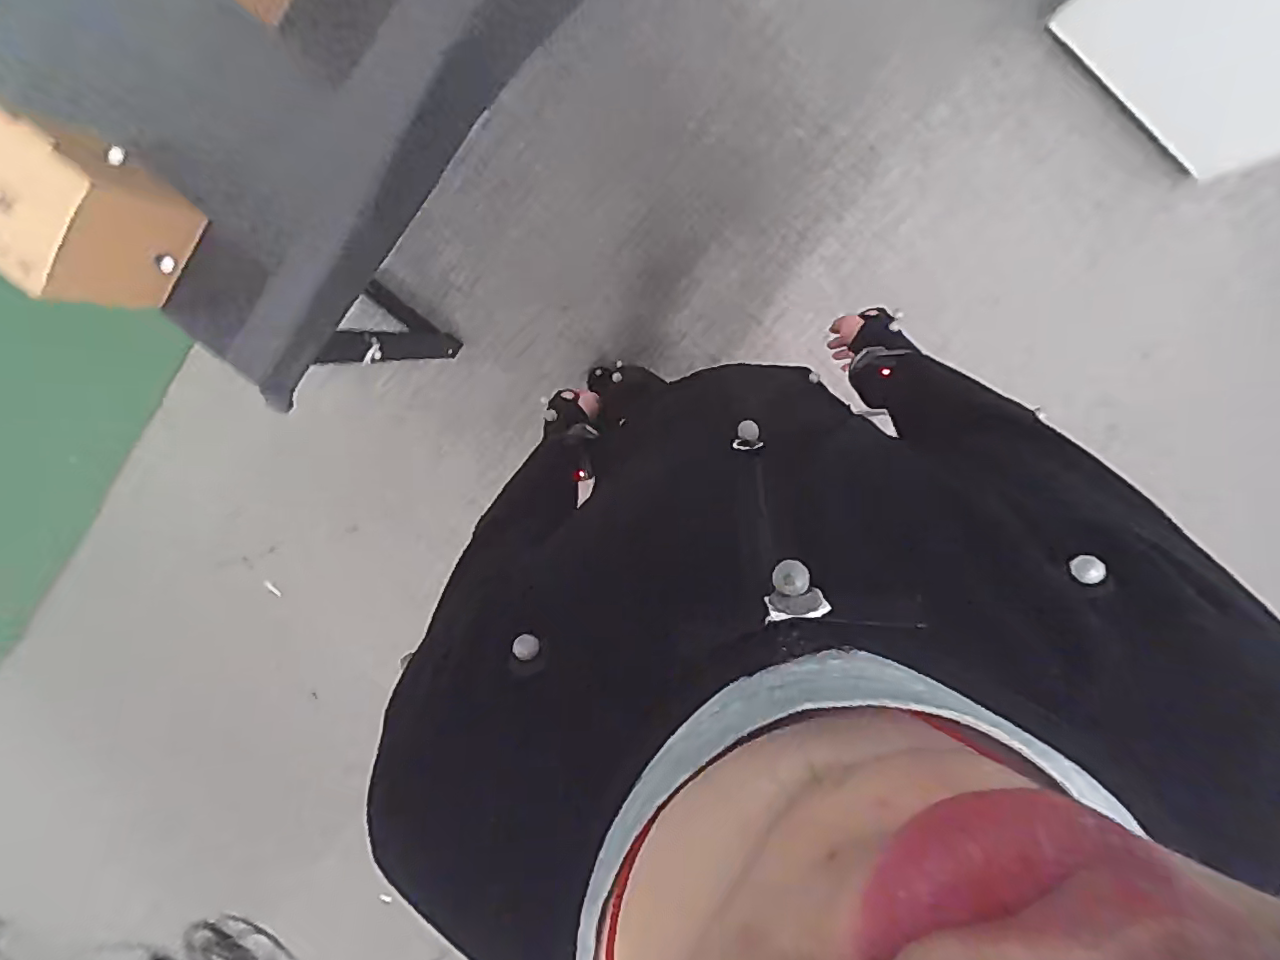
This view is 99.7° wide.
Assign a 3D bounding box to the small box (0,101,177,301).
[{"bbox_3d":[-0.770,-0.360,0.707,0.168,0.176,0.179,40,102,-5],"label":"small box"}]
